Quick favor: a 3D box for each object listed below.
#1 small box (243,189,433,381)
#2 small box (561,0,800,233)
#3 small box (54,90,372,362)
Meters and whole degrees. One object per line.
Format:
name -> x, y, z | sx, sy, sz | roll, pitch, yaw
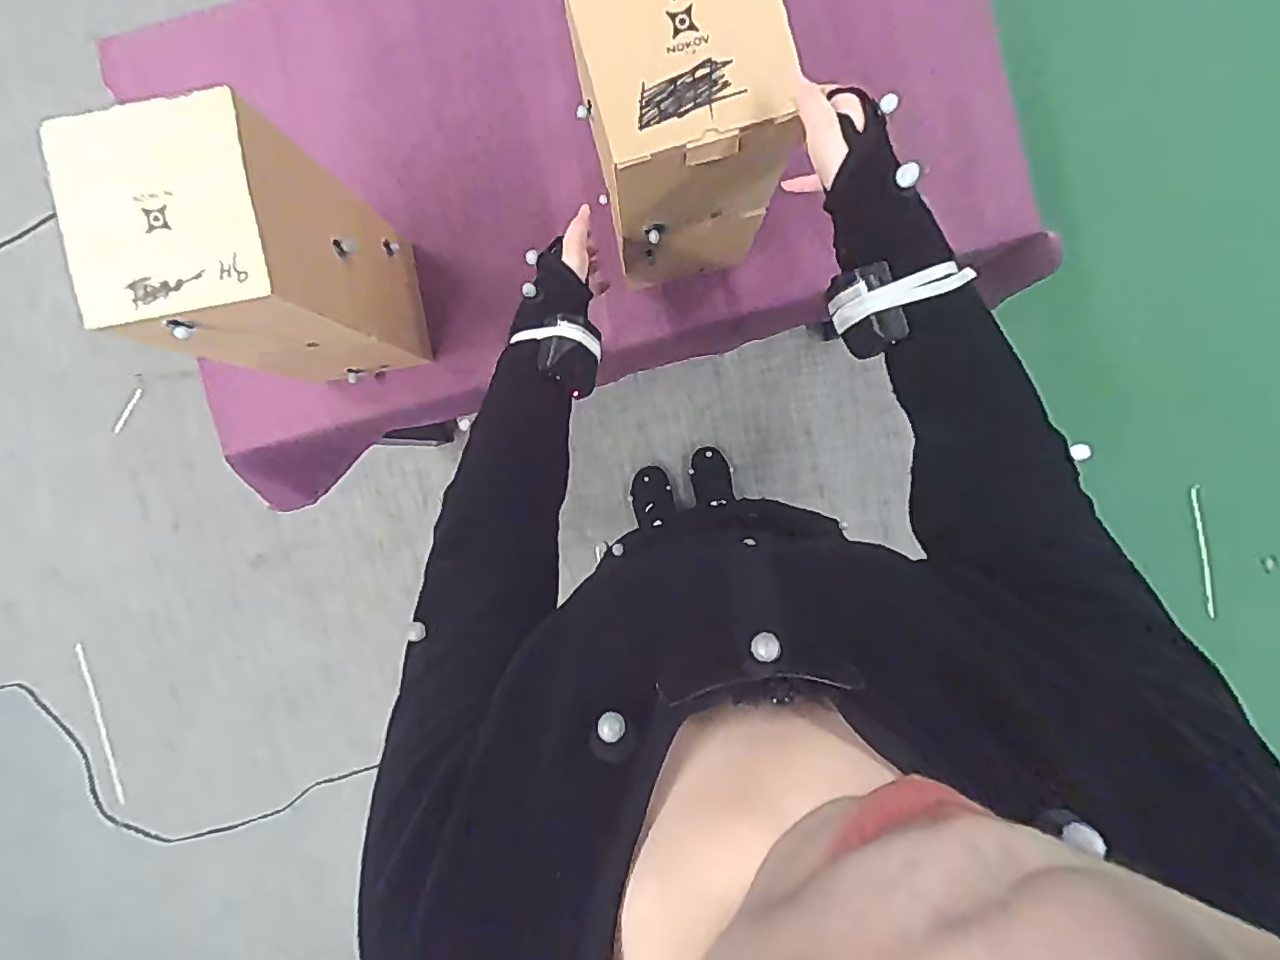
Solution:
small box -> -0.391, -0.237, 0.698 | 0.168, 0.176, 0.179 | -10, 93, 3
small box -> 0.034, -0.361, 0.516 | 0.168, 0.176, 0.179 | -16, 91, 2
small box -> -0.396, -0.229, 0.533 | 0.168, 0.176, 0.179 | -10, 91, 3
